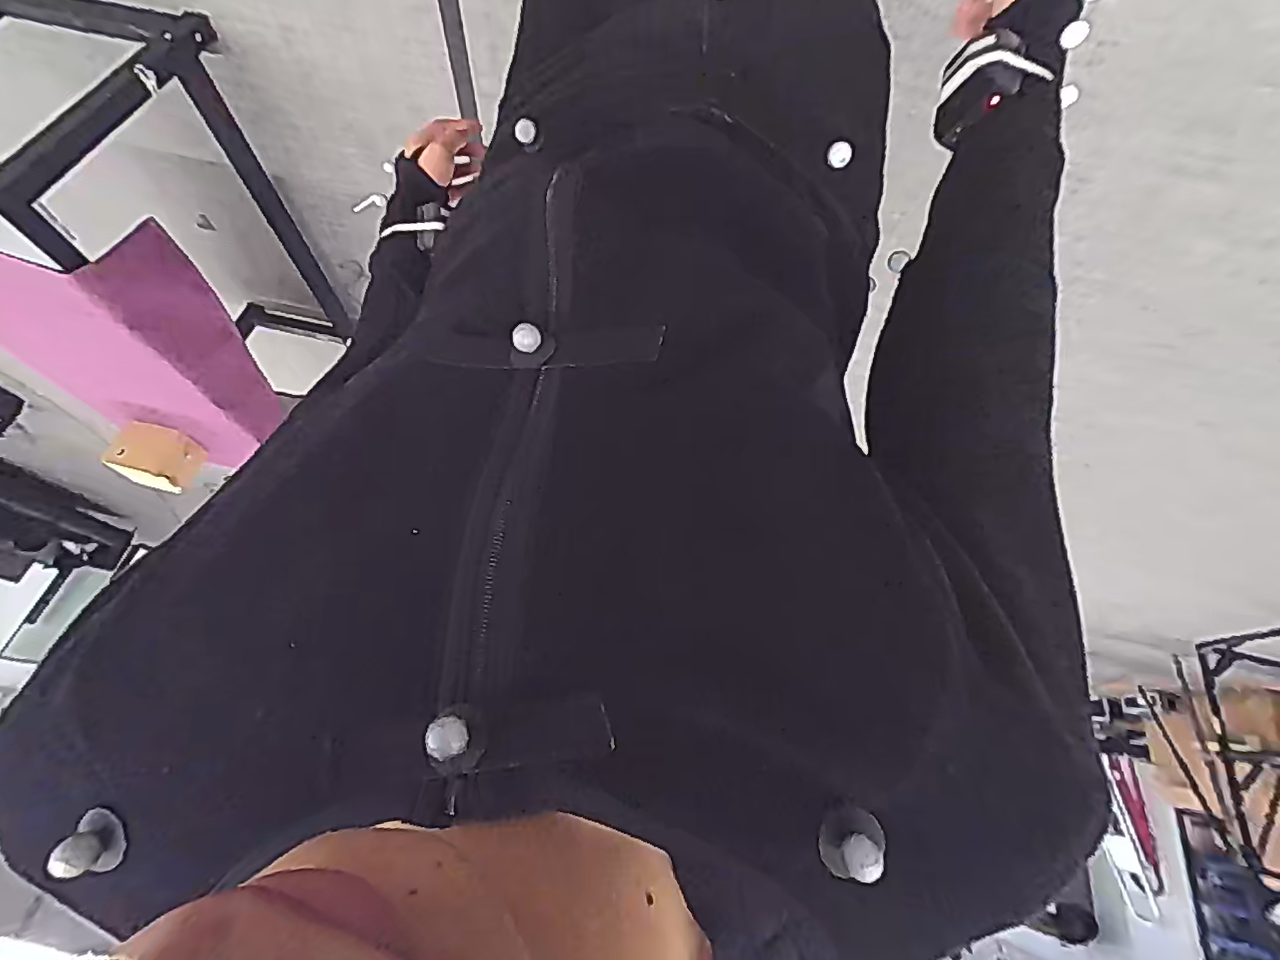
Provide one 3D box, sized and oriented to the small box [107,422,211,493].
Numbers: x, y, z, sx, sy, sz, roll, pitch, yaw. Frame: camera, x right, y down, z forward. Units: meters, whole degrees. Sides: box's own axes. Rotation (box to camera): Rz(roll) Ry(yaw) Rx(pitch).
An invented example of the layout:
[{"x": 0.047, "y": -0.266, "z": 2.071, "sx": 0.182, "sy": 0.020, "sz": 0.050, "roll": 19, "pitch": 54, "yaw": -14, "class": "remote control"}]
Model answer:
[{"x": -1.659, "y": -0.080, "z": 1.876, "sx": 0.179, "sy": 0.176, "sz": 0.168, "roll": 13, "pitch": 154, "yaw": 0, "class": "small box"}]
